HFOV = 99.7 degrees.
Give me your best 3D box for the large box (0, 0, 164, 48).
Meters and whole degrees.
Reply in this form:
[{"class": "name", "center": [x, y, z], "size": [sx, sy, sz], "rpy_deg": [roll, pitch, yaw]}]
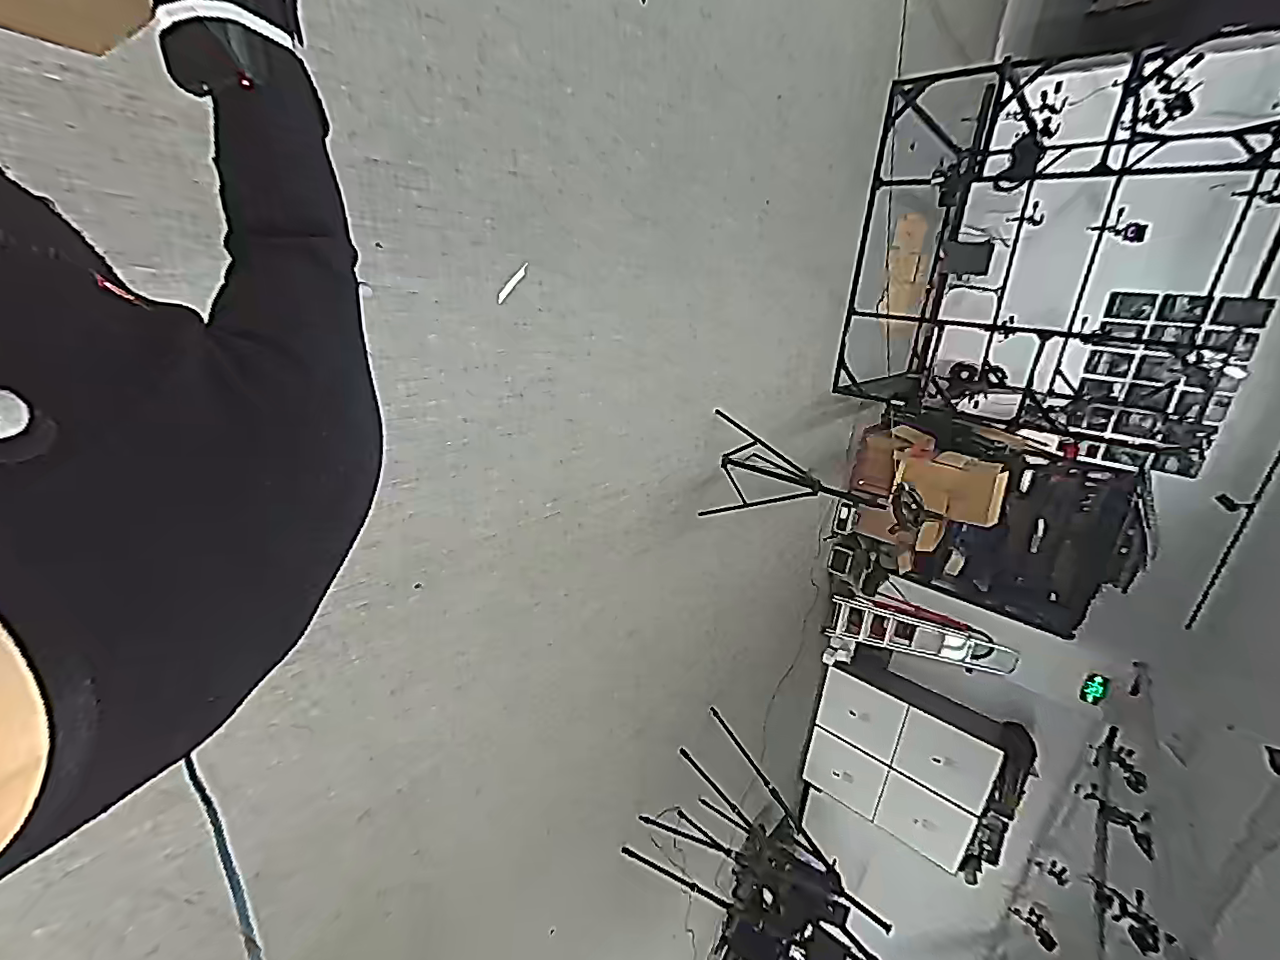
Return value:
[{"class": "large box", "center": [-0.522, -0.484, 0.252], "size": [0.408, 0.320, 0.320], "rpy_deg": [-16, 121, -50]}]
